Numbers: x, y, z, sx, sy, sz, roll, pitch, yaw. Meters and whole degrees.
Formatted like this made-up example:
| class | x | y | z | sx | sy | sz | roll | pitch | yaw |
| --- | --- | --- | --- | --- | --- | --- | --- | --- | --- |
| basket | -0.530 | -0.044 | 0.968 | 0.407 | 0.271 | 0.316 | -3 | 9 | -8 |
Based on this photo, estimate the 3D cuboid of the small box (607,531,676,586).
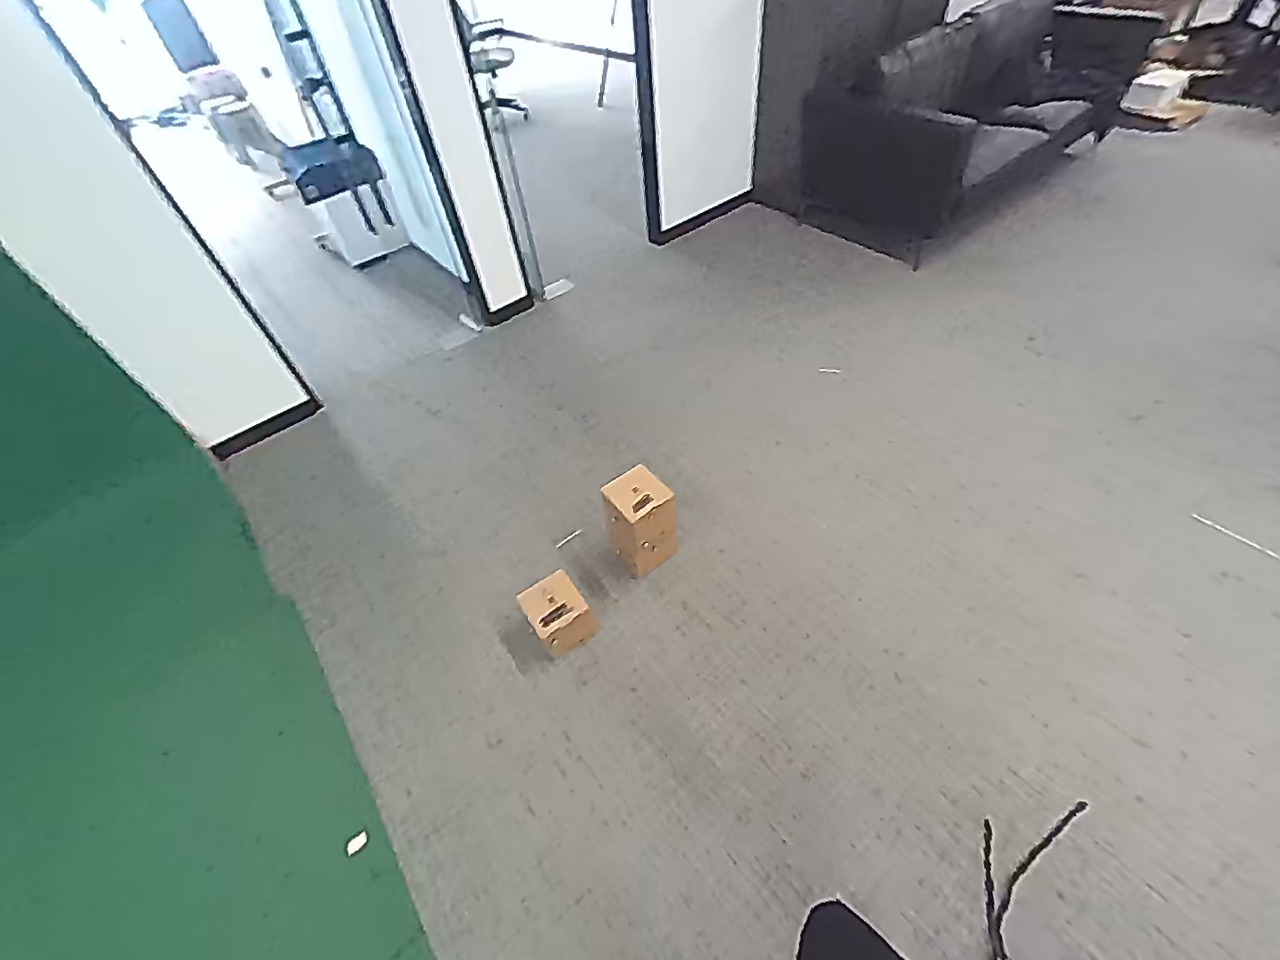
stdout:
| class | x | y | z | sx | sy | sz | roll | pitch | yaw |
| --- | --- | --- | --- | --- | --- | --- | --- | --- | --- |
| small box | 0.012 | 0.232 | 1.852 | 0.179 | 0.176 | 0.168 | -32 | 53 | -22 |

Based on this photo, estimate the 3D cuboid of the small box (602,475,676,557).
| class | x | y | z | sx | sy | sz | roll | pitch | yaw |
| --- | --- | --- | --- | --- | --- | --- | --- | --- | --- |
| small box | 0.003 | 0.123 | 1.729 | 0.168 | 0.176 | 0.179 | -32 | 52 | -20 |
